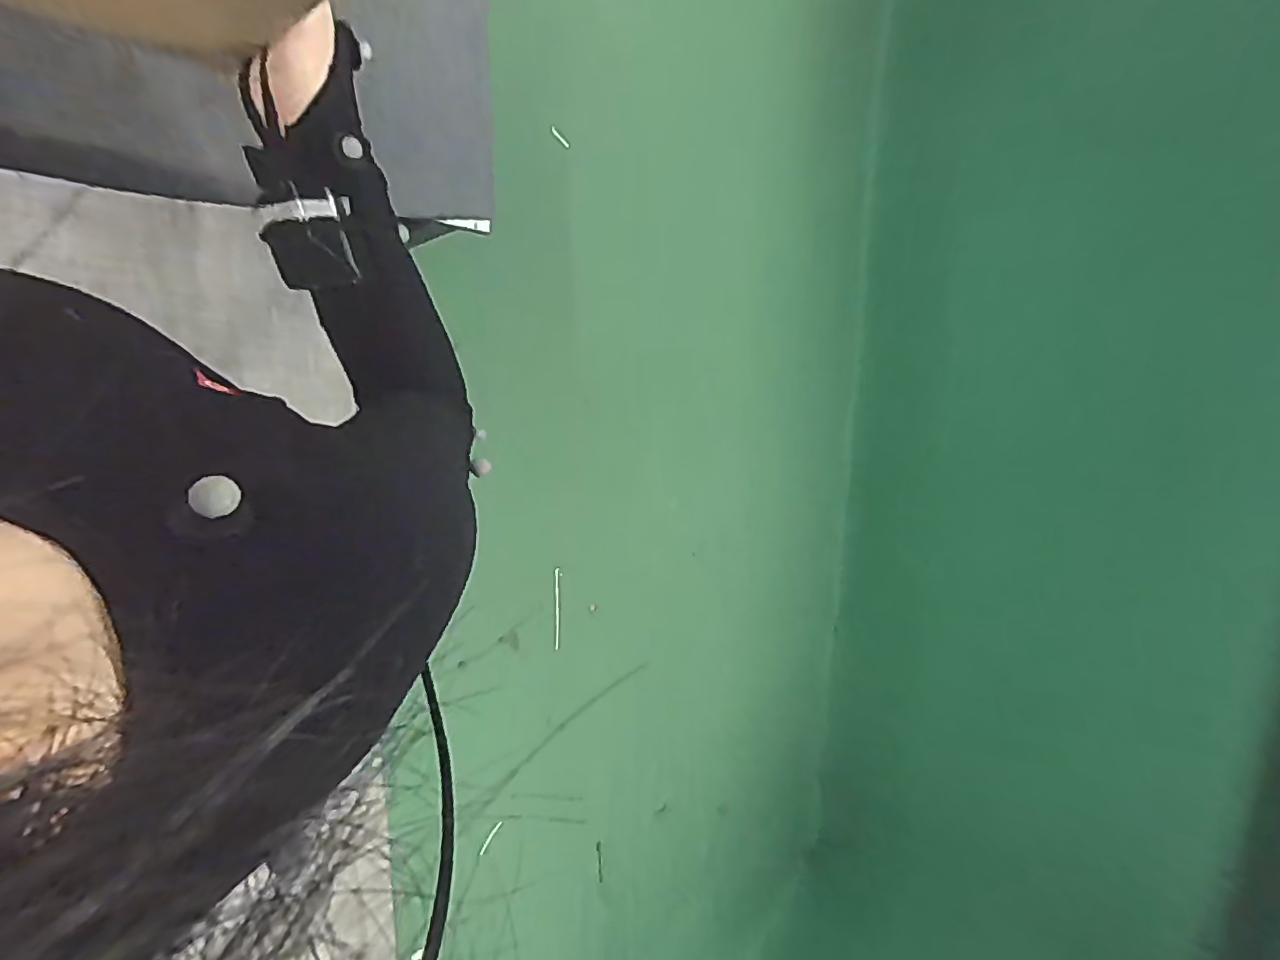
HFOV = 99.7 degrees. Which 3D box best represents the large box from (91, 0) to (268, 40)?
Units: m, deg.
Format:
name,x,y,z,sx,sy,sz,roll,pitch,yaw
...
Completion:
name,x,y,z,sx,sy,sz,roll,pitch,yaw
large box,-0.321,-0.385,0.119,0.408,0.320,0.320,-13,118,-45
